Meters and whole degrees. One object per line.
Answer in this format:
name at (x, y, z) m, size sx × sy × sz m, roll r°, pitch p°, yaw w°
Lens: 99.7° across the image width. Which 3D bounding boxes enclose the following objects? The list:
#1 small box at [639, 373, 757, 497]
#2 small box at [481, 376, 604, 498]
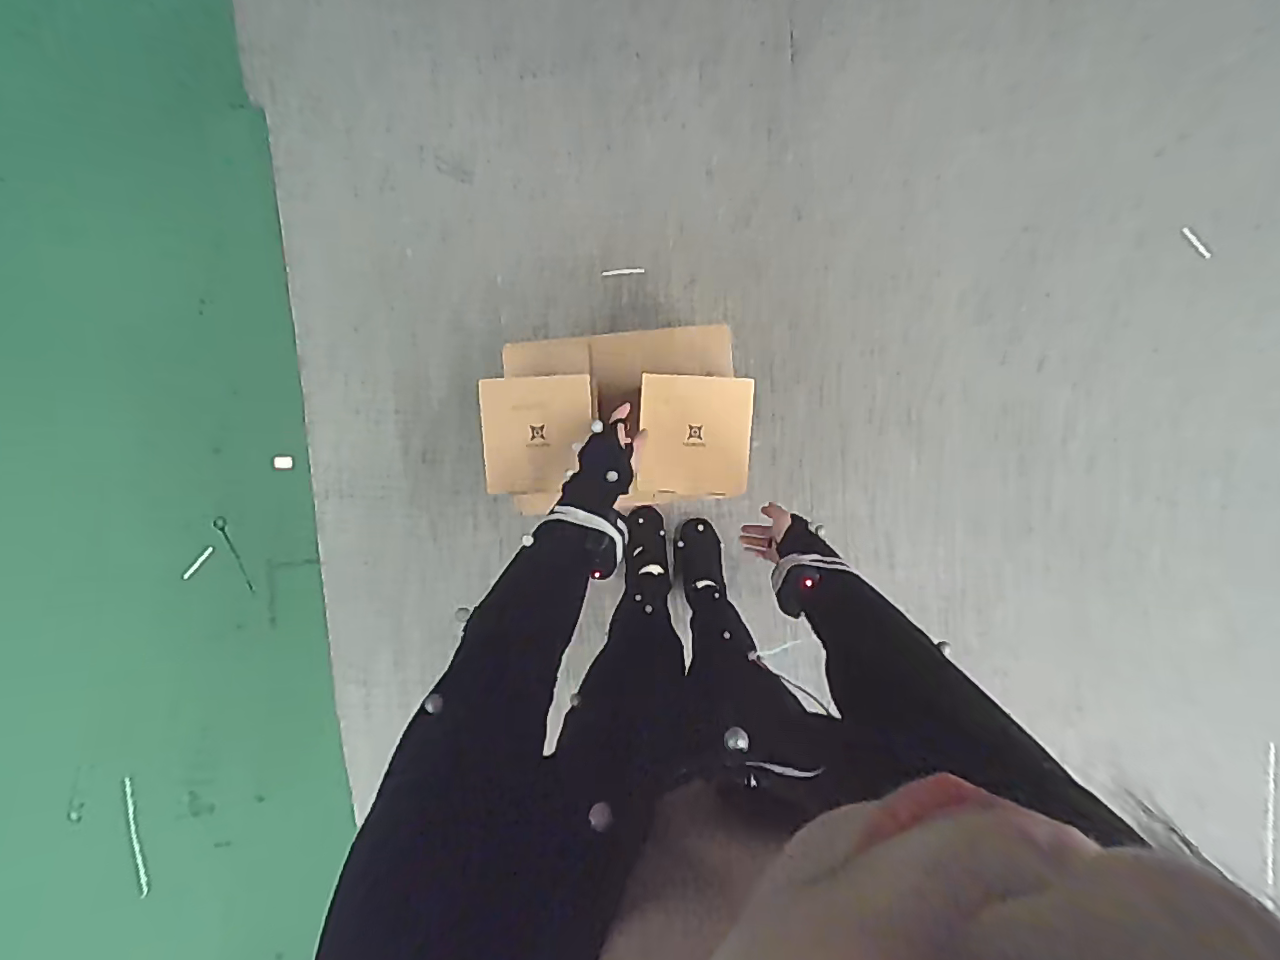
small box at (0.087, -0.071, 0.866) m, size 0.168 × 0.176 × 0.179 m, roll 2°, pitch 95°, yaw 3°
small box at (-0.148, -0.071, 0.875) m, size 0.168 × 0.176 × 0.179 m, roll -3°, pitch 96°, yaw 0°
